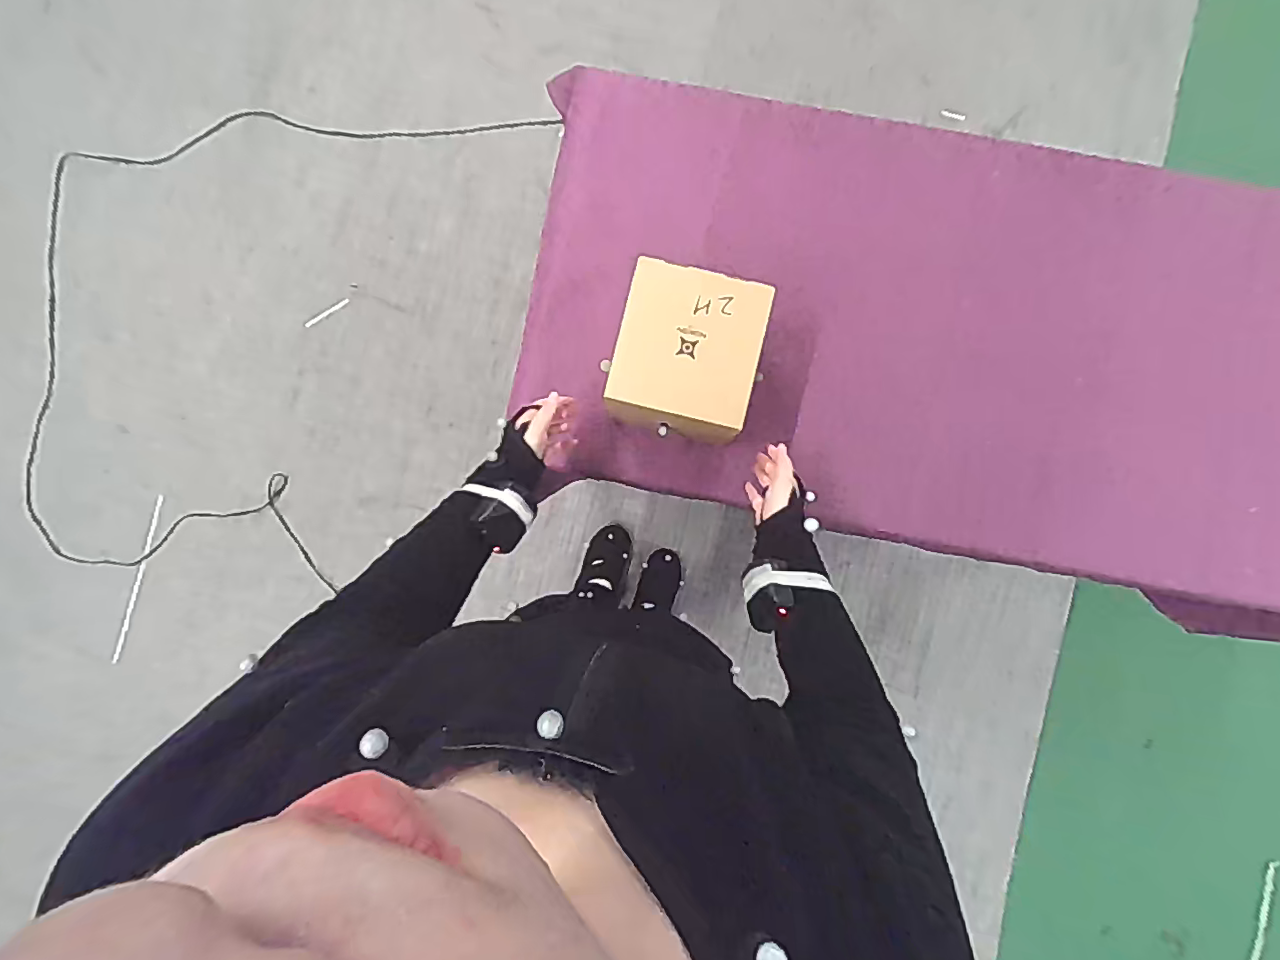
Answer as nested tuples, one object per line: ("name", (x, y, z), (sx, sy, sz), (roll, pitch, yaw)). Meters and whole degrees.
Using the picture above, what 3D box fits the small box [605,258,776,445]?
("small box", (0.060, -0.152, 0.703), (0.168, 0.176, 0.179), (14, 87, 1))
